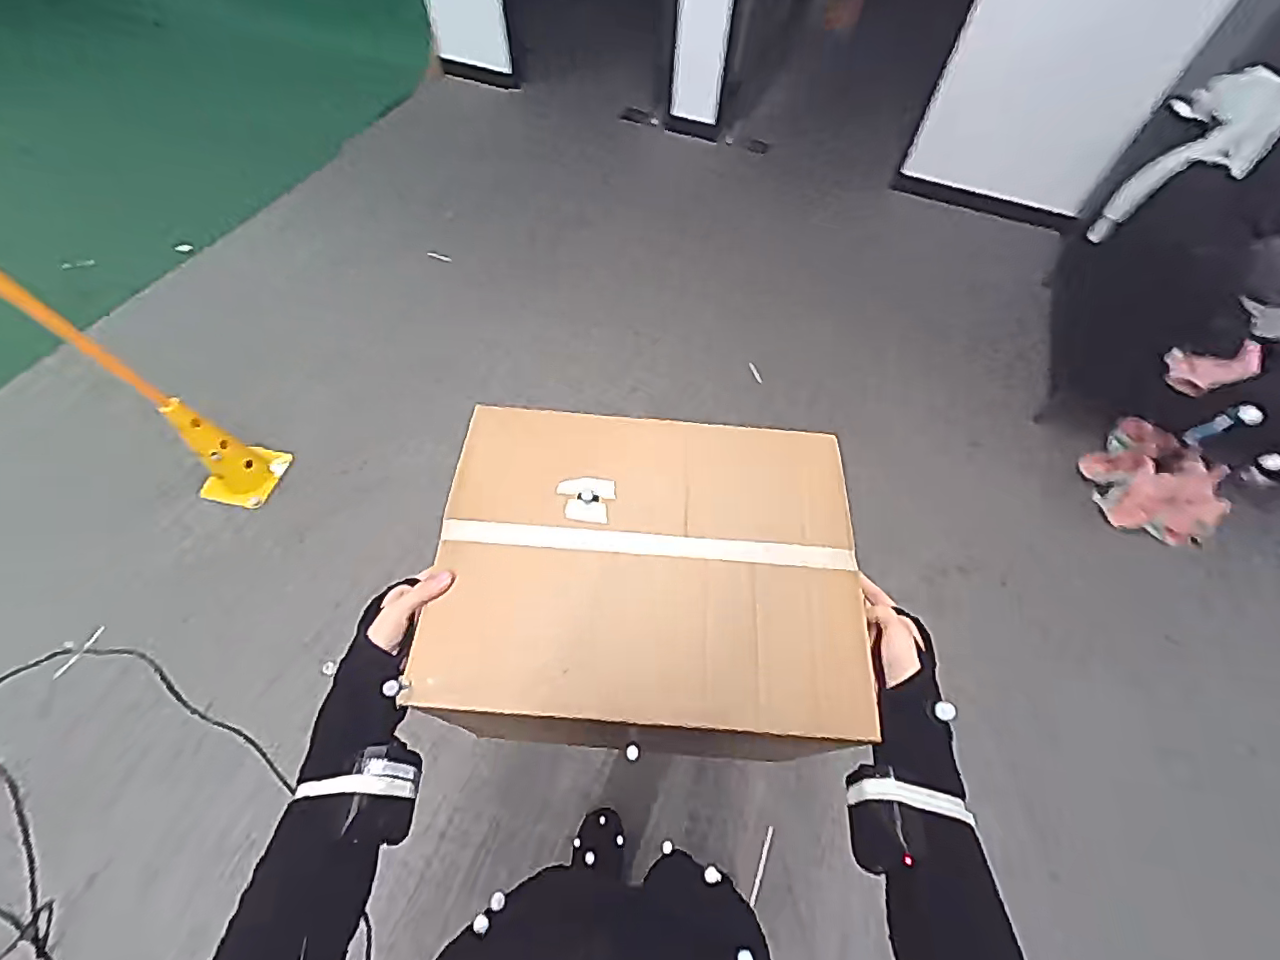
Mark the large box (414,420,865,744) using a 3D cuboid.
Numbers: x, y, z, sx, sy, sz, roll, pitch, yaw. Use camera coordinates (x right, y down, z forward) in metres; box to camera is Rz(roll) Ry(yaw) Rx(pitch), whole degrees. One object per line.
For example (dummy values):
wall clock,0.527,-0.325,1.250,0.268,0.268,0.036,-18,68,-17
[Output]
large box,0.004,0.145,0.673,0.408,0.320,0.320,3,59,0
